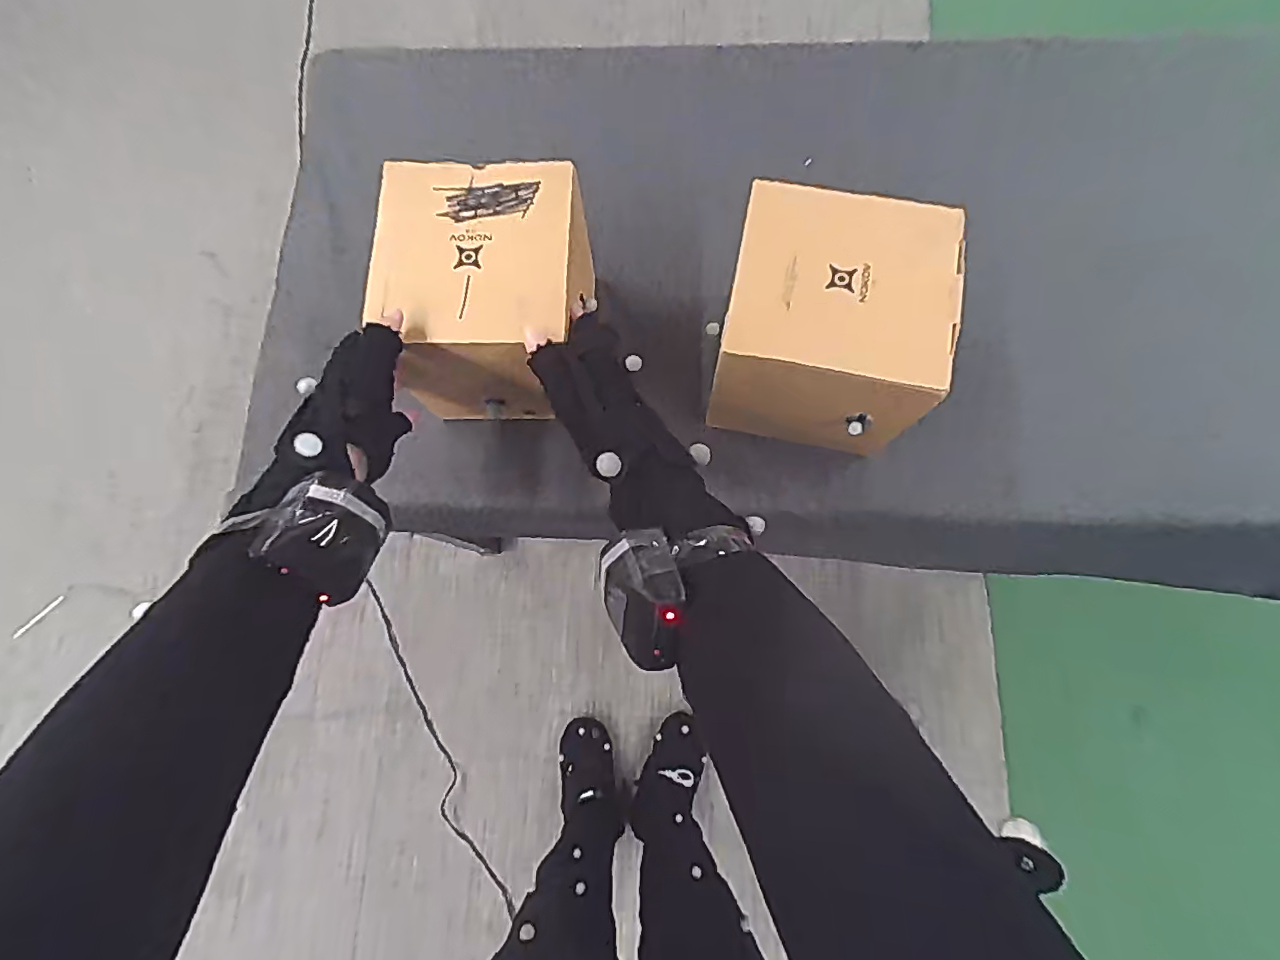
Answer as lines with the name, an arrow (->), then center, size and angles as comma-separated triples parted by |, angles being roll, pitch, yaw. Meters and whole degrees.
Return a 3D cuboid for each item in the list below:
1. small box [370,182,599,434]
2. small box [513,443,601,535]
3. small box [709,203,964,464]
small box -> -0.131, -0.156, 0.529 | 0.168, 0.176, 0.179 | 0, 76, 2
small box -> -0.185, 0.029, 1.242 | 0.168, 0.176, 0.179 | -7, 76, 1
small box -> 0.170, -0.123, 0.513 | 0.179, 0.176, 0.168 | 11, 75, 6
